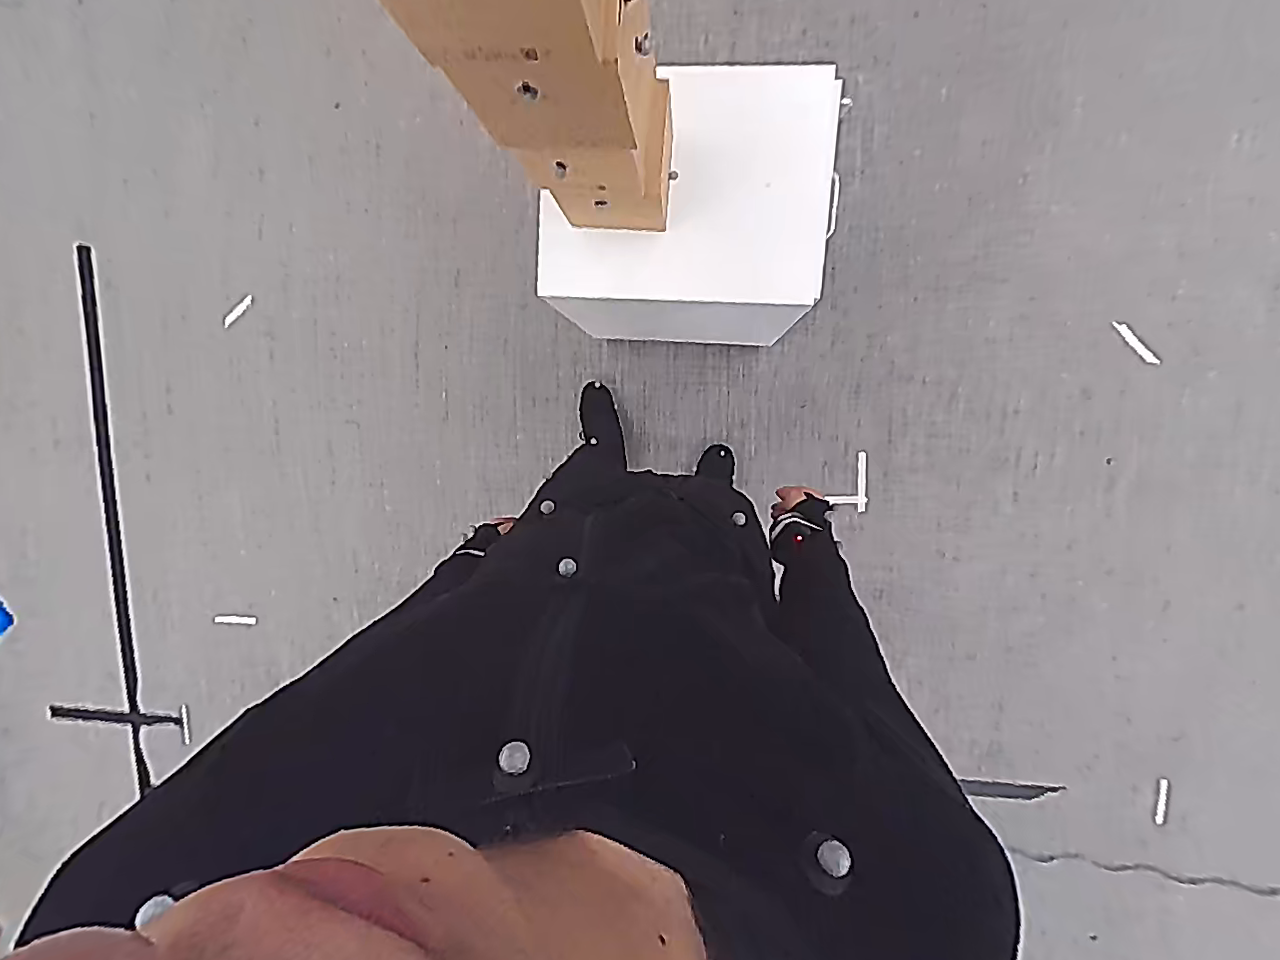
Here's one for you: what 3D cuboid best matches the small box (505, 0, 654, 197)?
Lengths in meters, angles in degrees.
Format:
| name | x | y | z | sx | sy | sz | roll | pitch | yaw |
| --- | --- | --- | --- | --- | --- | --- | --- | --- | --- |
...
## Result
| name | x | y | z | sx | sy | sz | roll | pitch | yaw |
| --- | --- | --- | --- | --- | --- | --- | --- | --- | --- |
| small box | -0.075 | -0.507 | 0.732 | 0.168 | 0.176 | 0.179 | 7 | 97 | 5 |

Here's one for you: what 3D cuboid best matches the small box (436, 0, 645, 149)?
| name | x | y | z | sx | sy | sz | roll | pitch | yaw |
| --- | --- | --- | --- | --- | --- | --- | --- | --- | --- |
| small box | -0.093 | -0.475 | 0.571 | 0.179 | 0.176 | 0.168 | 4 | 97 | 5 |

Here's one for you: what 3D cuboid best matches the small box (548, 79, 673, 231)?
| name | x | y | z | sx | sy | sz | roll | pitch | yaw |
| --- | --- | --- | --- | --- | --- | --- | --- | --- | --- |
| small box | -0.041 | -0.525 | 0.891 | 0.179 | 0.176 | 0.168 | 5 | 97 | 4 |
